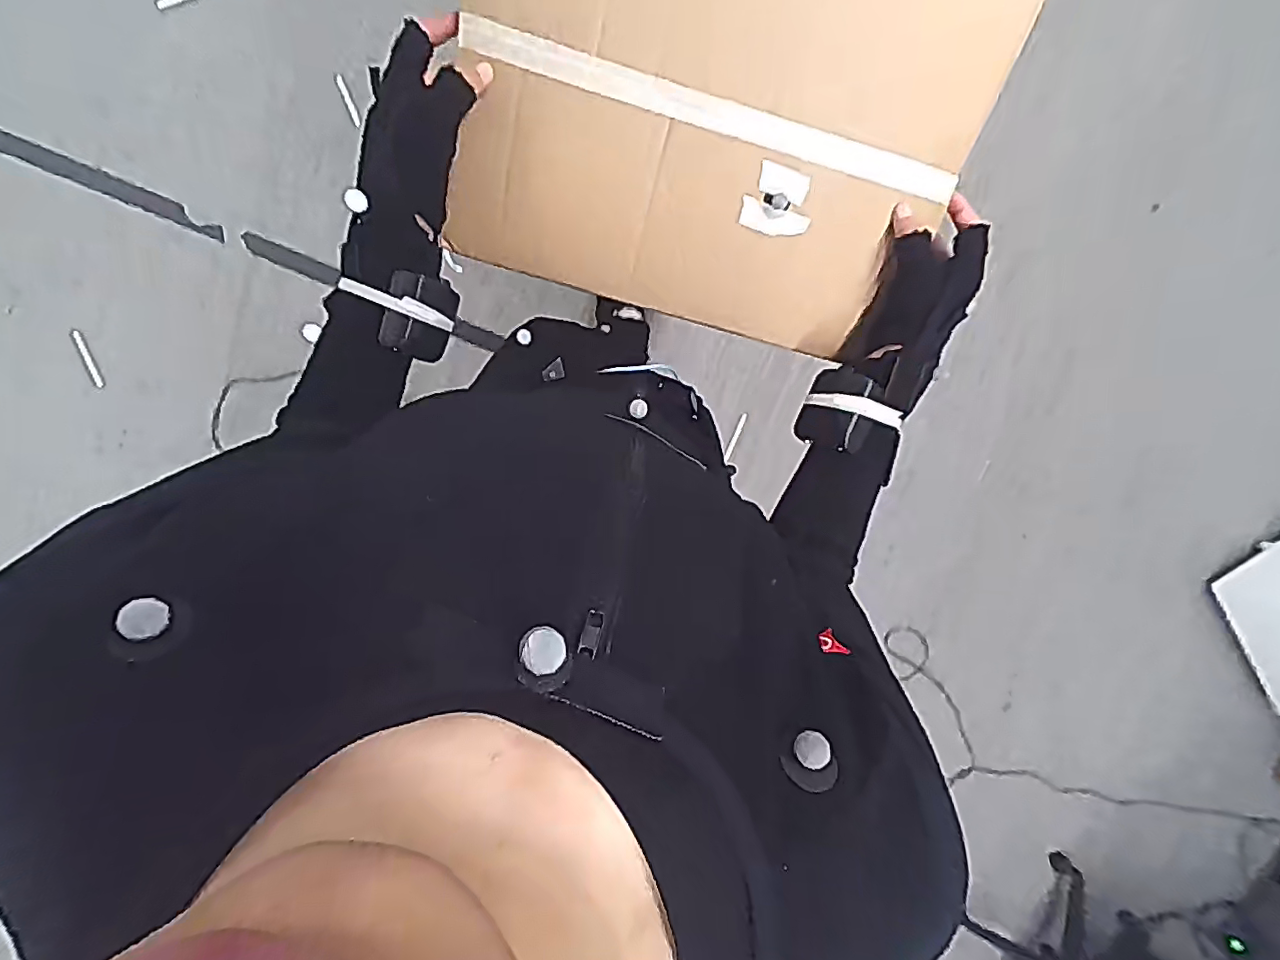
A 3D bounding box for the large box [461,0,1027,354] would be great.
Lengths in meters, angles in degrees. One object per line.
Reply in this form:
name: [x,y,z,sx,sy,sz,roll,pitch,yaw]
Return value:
large box: [0.065,-0.365,0.573,0.408,0.320,0.320,14,118,-7]
